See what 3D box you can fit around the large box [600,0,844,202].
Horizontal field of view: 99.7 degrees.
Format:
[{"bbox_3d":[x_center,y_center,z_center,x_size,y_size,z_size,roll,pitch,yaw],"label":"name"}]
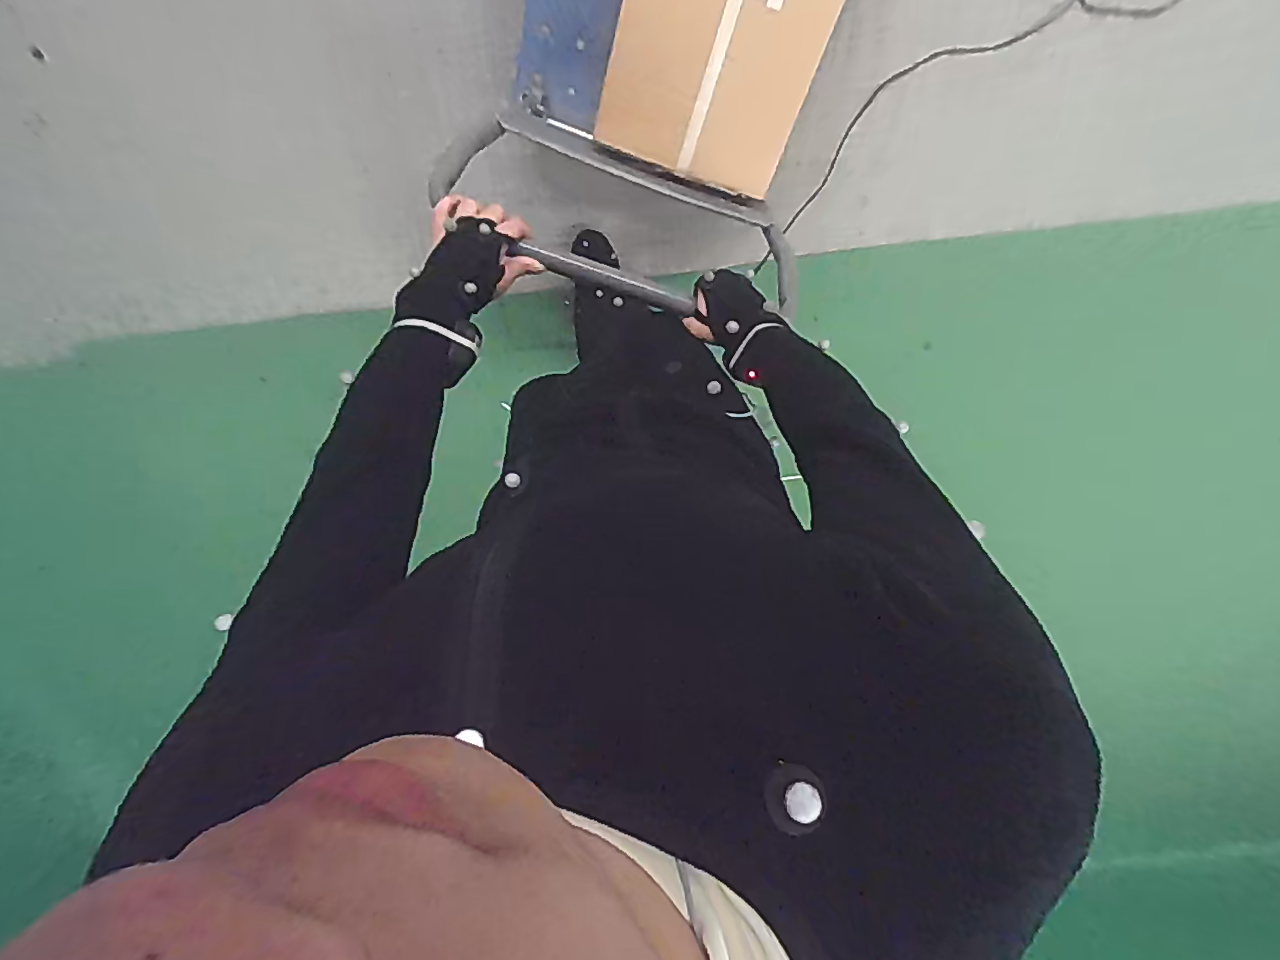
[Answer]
[{"bbox_3d":[0.138,-0.774,0.956,0.320,0.320,0.408,15,126,-9],"label":"large box"}]
